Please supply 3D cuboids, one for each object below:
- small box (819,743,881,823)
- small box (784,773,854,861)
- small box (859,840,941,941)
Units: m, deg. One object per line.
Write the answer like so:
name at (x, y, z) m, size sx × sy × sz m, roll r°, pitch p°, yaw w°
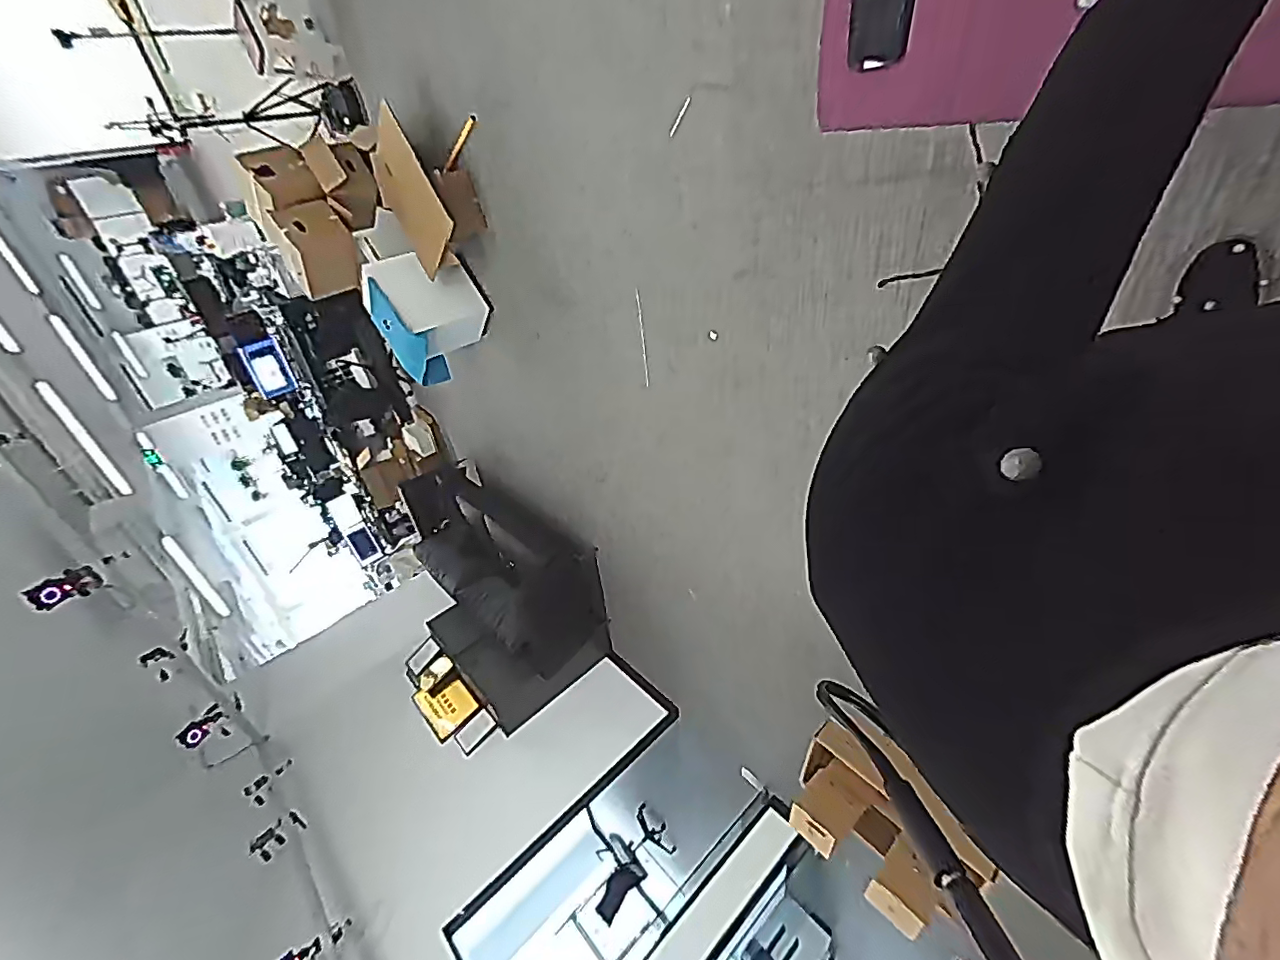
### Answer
small box at (0.762, 1.120, 1.997) m, size 0.168 × 0.176 × 0.179 m, roll 34°, pitch 140°, yaw 35°
small box at (0.636, 1.183, 1.913) m, size 0.168 × 0.176 × 0.179 m, roll 31°, pitch 139°, yaw 39°
small box at (0.835, 1.315, 1.737) m, size 0.168 × 0.176 × 0.179 m, roll 30°, pitch 138°, yaw 38°
